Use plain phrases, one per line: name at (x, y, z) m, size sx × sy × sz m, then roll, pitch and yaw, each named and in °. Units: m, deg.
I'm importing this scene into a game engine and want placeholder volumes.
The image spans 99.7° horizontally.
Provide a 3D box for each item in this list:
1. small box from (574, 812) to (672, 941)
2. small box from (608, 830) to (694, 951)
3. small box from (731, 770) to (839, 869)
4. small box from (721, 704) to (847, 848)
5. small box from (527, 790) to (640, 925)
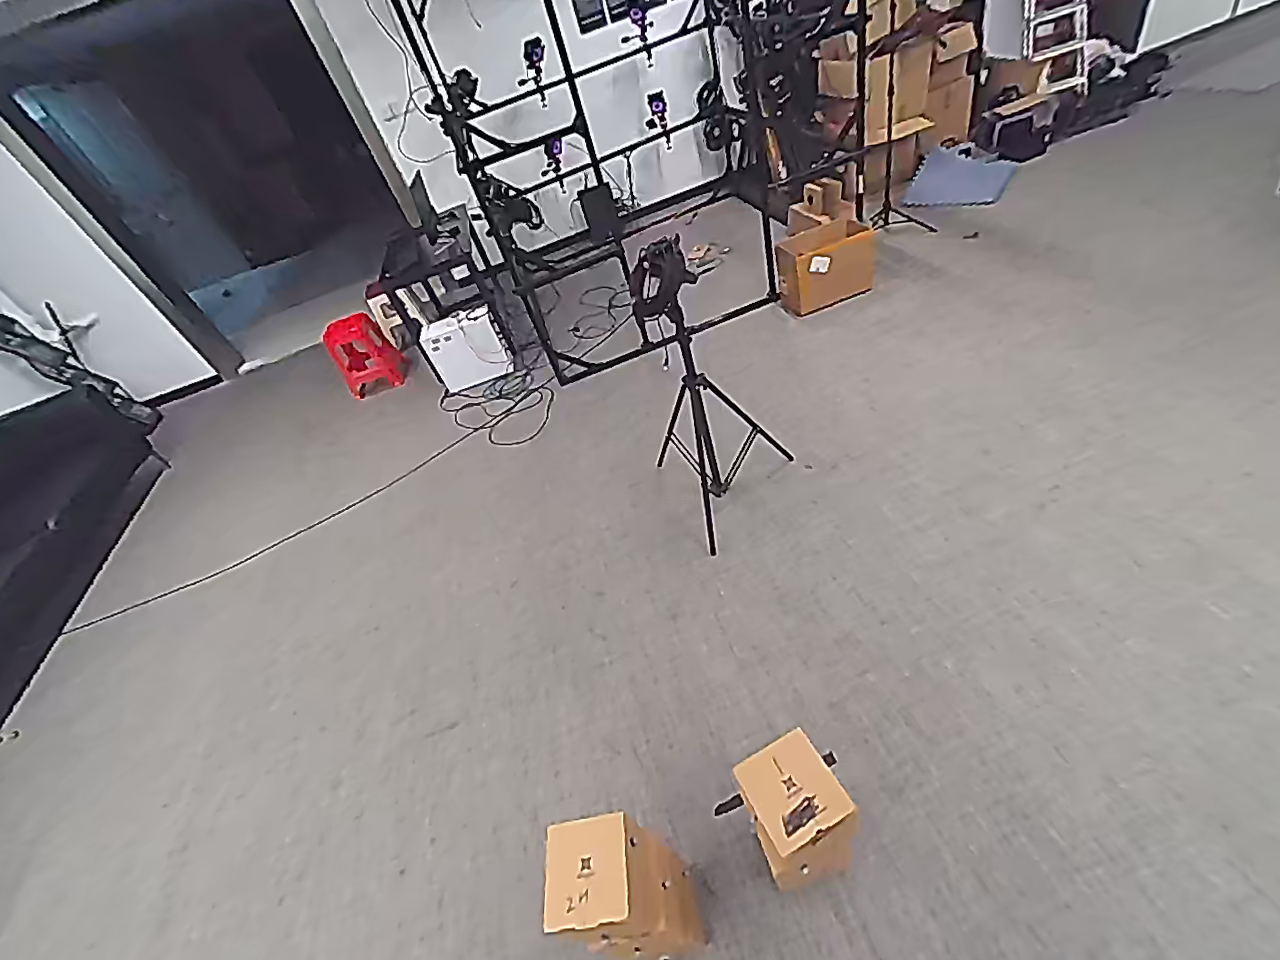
small box at (-0.042, 0.850, 1.158) m, size 0.168 × 0.176 × 0.179 m, roll -19°, pitch 43°, yaw 3°
small box at (0.012, 0.959, 1.262) m, size 0.168 × 0.176 × 0.179 m, roll -22°, pitch 42°, yaw 2°
small box at (0.312, 0.699, 1.171) m, size 0.168 × 0.176 × 0.179 m, roll -23°, pitch 42°, yaw -3°
small box at (0.283, 0.584, 1.056) m, size 0.168 × 0.176 × 0.179 m, roll -28°, pitch 43°, yaw -8°
small box at (-0.105, 0.737, 1.054) m, size 0.168 × 0.176 × 0.179 m, roll -15°, pitch 43°, yaw 8°
